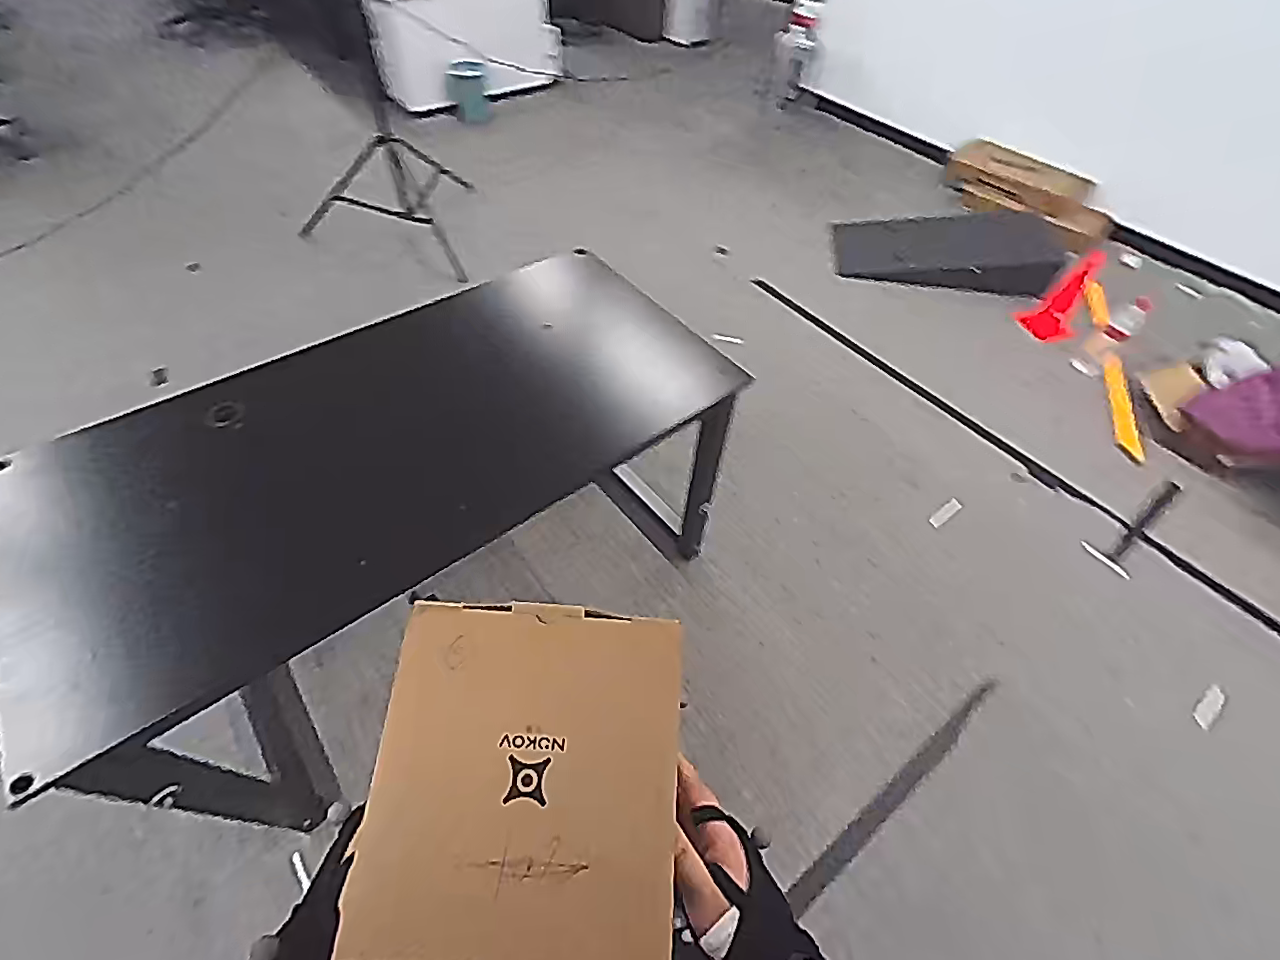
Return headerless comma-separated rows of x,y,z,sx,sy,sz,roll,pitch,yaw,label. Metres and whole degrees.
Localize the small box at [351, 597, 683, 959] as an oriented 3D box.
-0.064,0.188,0.375,0.168,0.176,0.179,3,68,-2,small box
